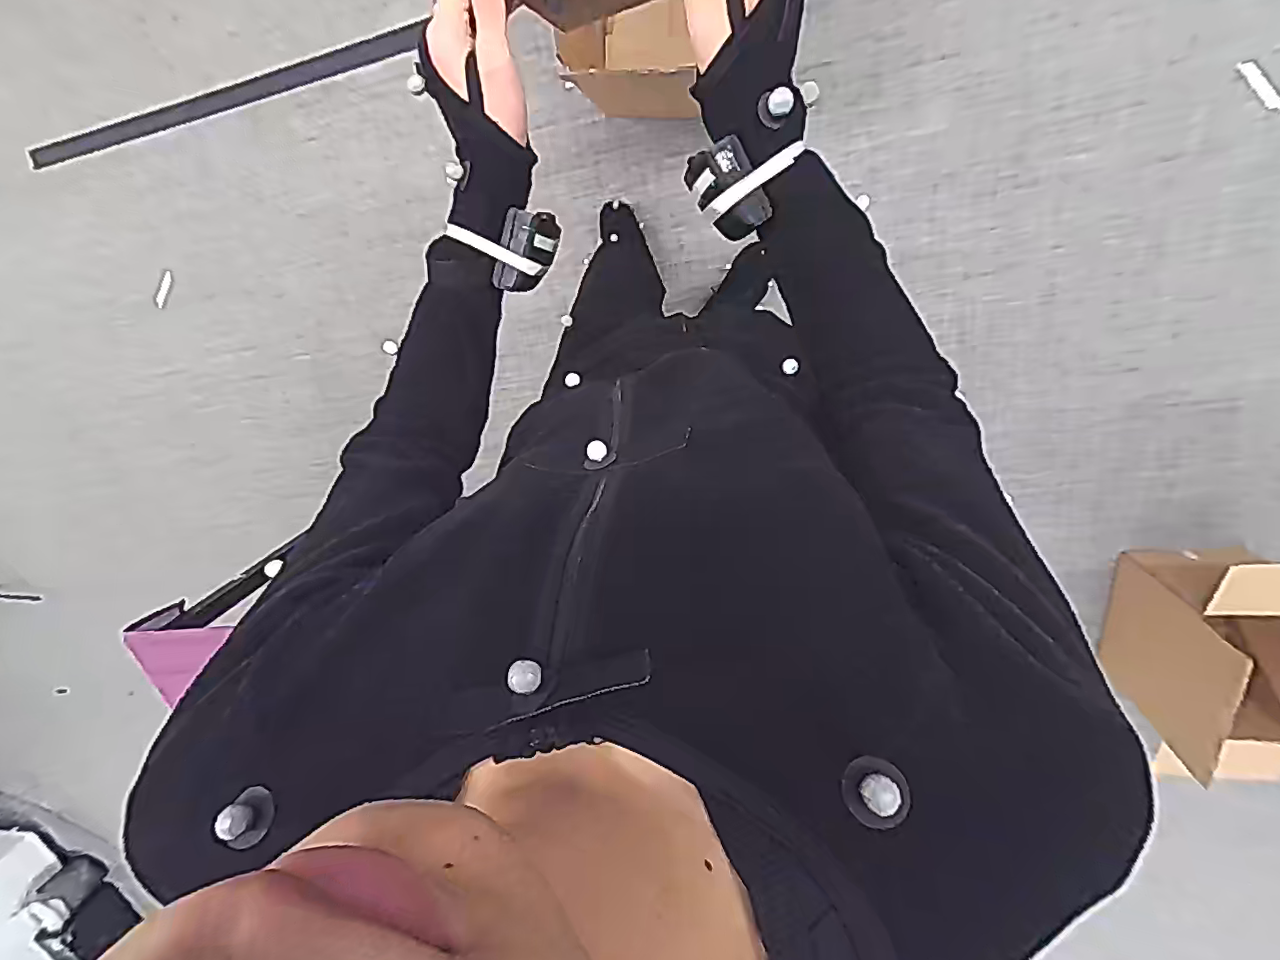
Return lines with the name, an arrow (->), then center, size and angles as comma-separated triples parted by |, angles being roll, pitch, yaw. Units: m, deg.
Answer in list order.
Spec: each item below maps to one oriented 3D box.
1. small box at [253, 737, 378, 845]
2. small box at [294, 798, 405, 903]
small box -> -0.771, 0.749, 1.312 | 0.179, 0.176, 0.168 | -9, 113, 16
small box -> -0.737, 0.949, 1.400 | 0.179, 0.176, 0.168 | -2, 113, 12
